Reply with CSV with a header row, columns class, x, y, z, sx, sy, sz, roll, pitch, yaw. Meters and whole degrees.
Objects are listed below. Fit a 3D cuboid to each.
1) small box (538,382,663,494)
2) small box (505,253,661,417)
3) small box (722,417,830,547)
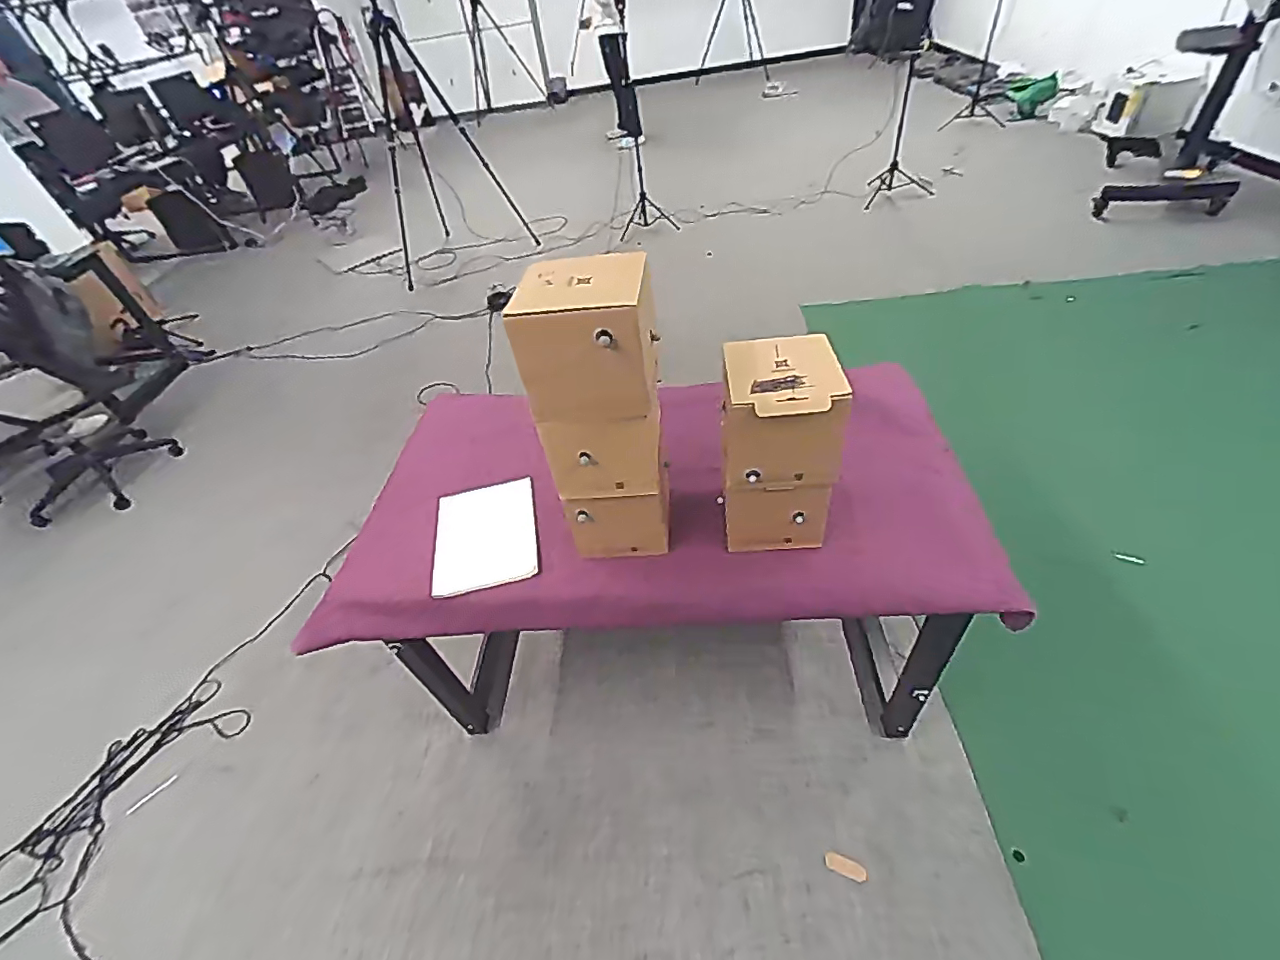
class,x,y,z,sx,sy,sz,roll,pitch,yaw
small box,-0.053,-0.089,0.891,0.168,0.176,0.179,-3,43,8
small box,-0.066,-0.203,0.772,0.179,0.176,0.168,-1,43,9
small box,0.236,0.009,0.975,0.168,0.176,0.179,-2,43,7
